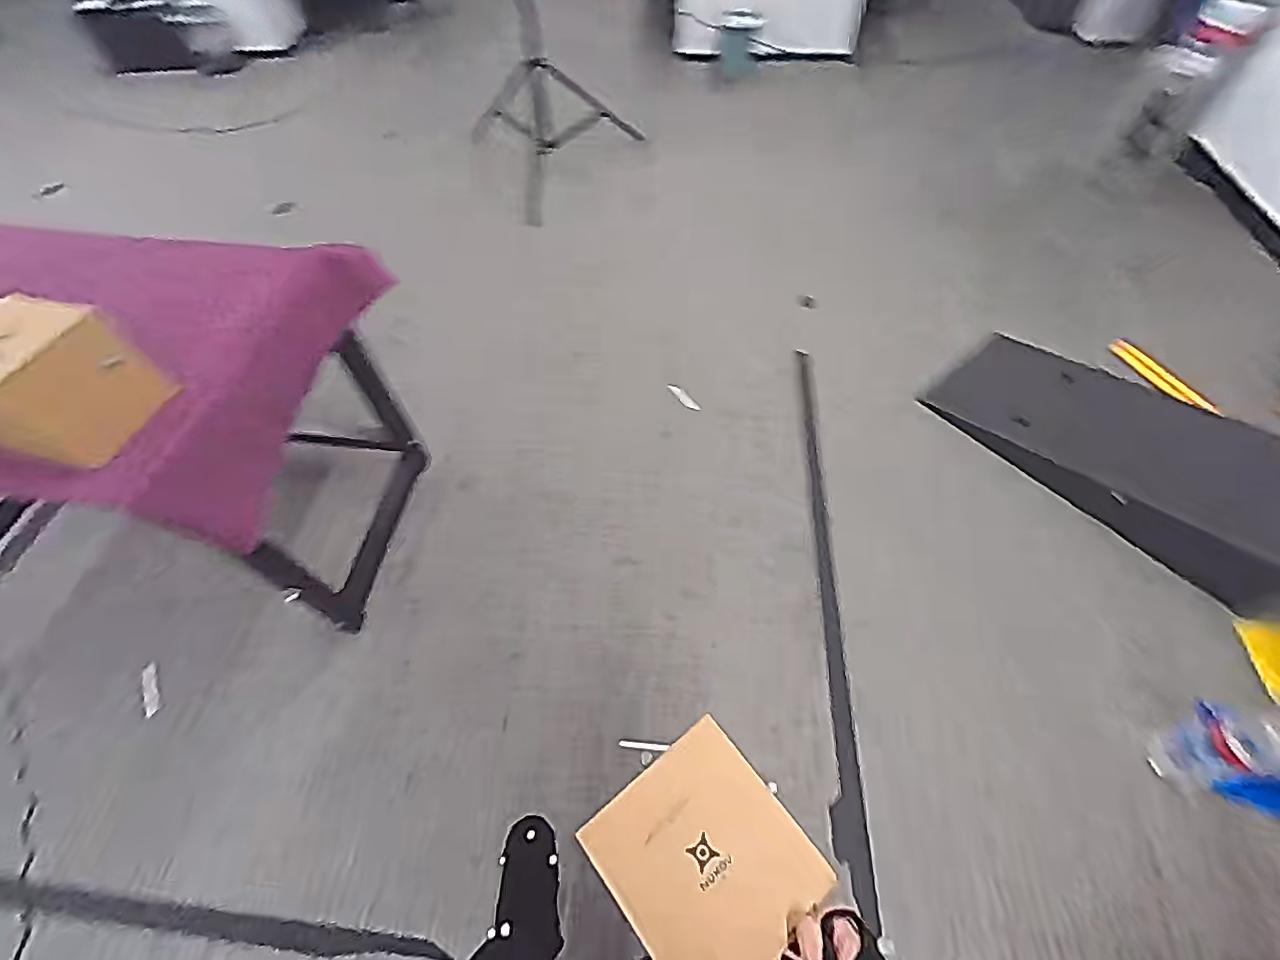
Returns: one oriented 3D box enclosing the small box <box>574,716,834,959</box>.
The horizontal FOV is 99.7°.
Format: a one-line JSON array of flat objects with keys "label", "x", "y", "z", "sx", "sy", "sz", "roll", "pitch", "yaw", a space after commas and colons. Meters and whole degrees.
[{"label": "small box", "x": 0.056, "y": 0.373, "z": 0.549, "sx": 0.168, "sy": 0.176, "sz": 0.179, "roll": -36, "pitch": 65, "yaw": -20}]
